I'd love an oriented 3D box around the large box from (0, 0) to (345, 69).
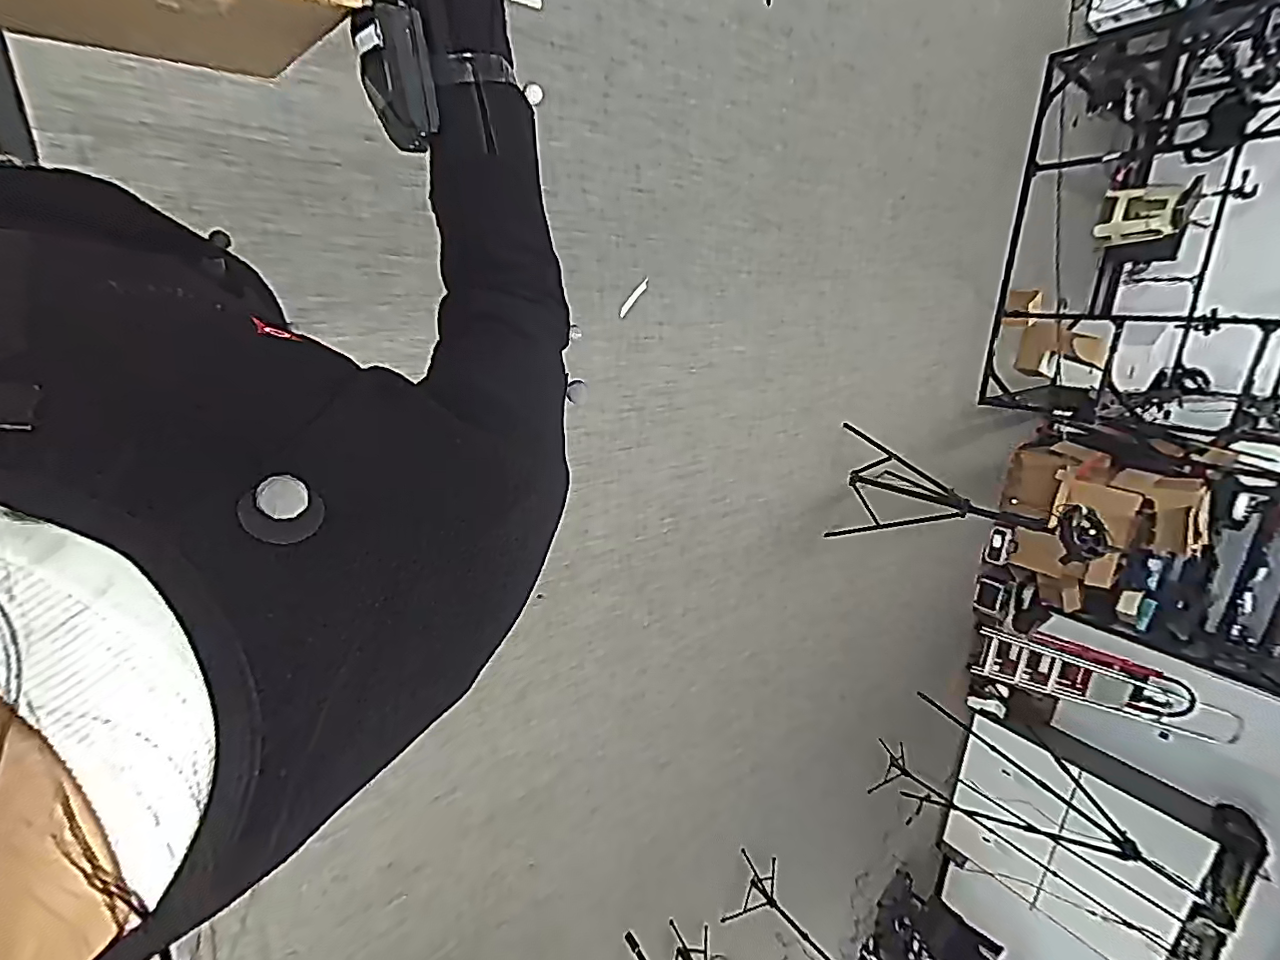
[{"bbox_3d":[-0.397,-0.411,0.221,0.408,0.320,0.320,-17,124,-36],"label":"large box"}]
